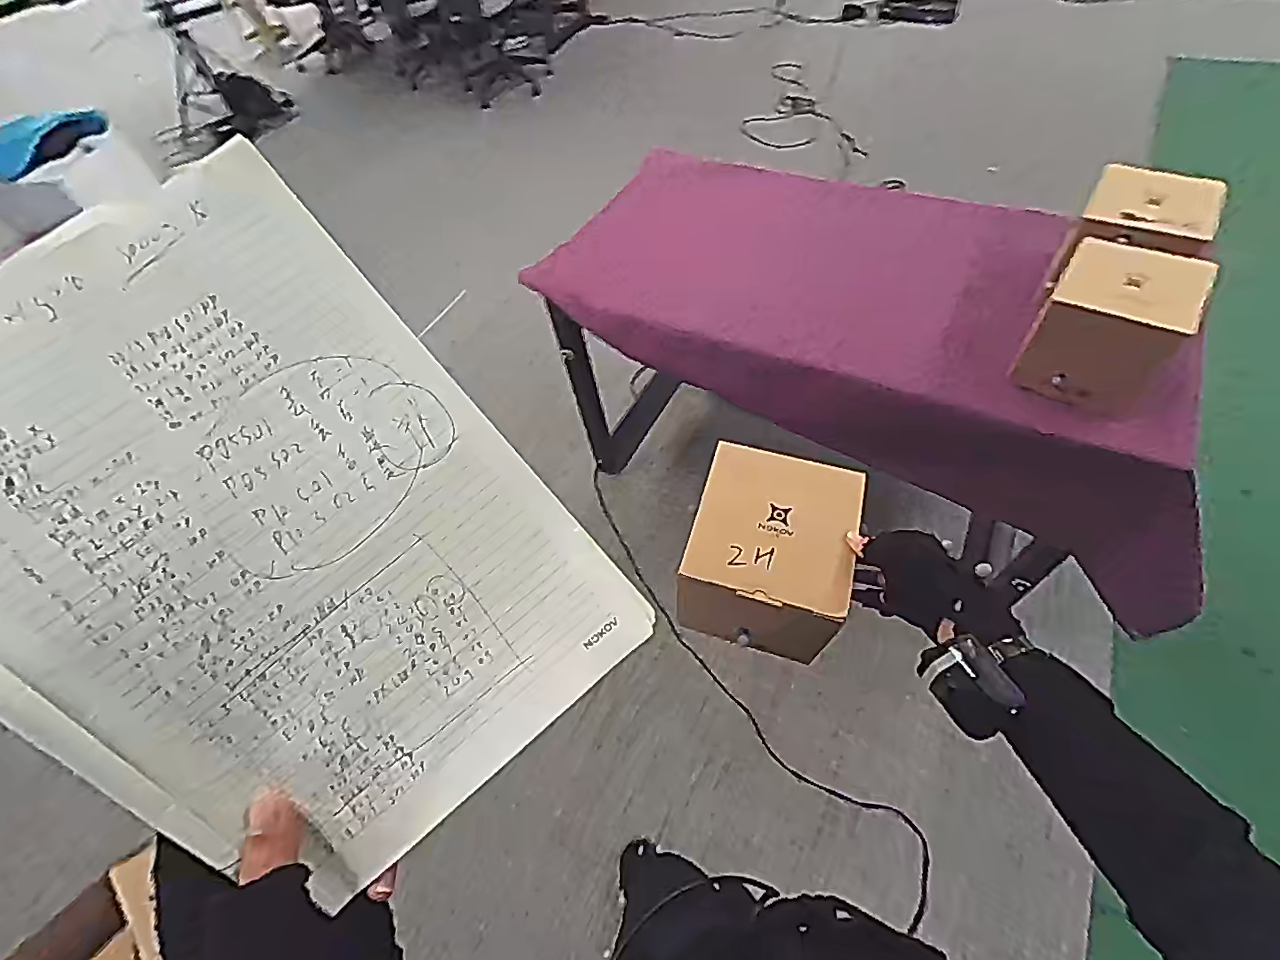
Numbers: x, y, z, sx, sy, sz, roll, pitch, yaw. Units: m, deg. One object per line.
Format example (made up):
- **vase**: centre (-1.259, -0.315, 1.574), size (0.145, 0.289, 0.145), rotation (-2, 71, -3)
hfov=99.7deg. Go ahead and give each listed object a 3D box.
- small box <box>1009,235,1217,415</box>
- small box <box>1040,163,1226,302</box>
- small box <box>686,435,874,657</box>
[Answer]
- **small box**: centre (0.705, -0.234, 0.824), size (0.168, 0.176, 0.179), rotation (30, 65, 26)
- **small box**: centre (0.824, -0.399, 0.919), size (0.168, 0.176, 0.179), rotation (27, 63, 24)
- **small box**: centre (0.152, 0.080, 0.628), size (0.168, 0.176, 0.179), rotation (15, 61, 12)
